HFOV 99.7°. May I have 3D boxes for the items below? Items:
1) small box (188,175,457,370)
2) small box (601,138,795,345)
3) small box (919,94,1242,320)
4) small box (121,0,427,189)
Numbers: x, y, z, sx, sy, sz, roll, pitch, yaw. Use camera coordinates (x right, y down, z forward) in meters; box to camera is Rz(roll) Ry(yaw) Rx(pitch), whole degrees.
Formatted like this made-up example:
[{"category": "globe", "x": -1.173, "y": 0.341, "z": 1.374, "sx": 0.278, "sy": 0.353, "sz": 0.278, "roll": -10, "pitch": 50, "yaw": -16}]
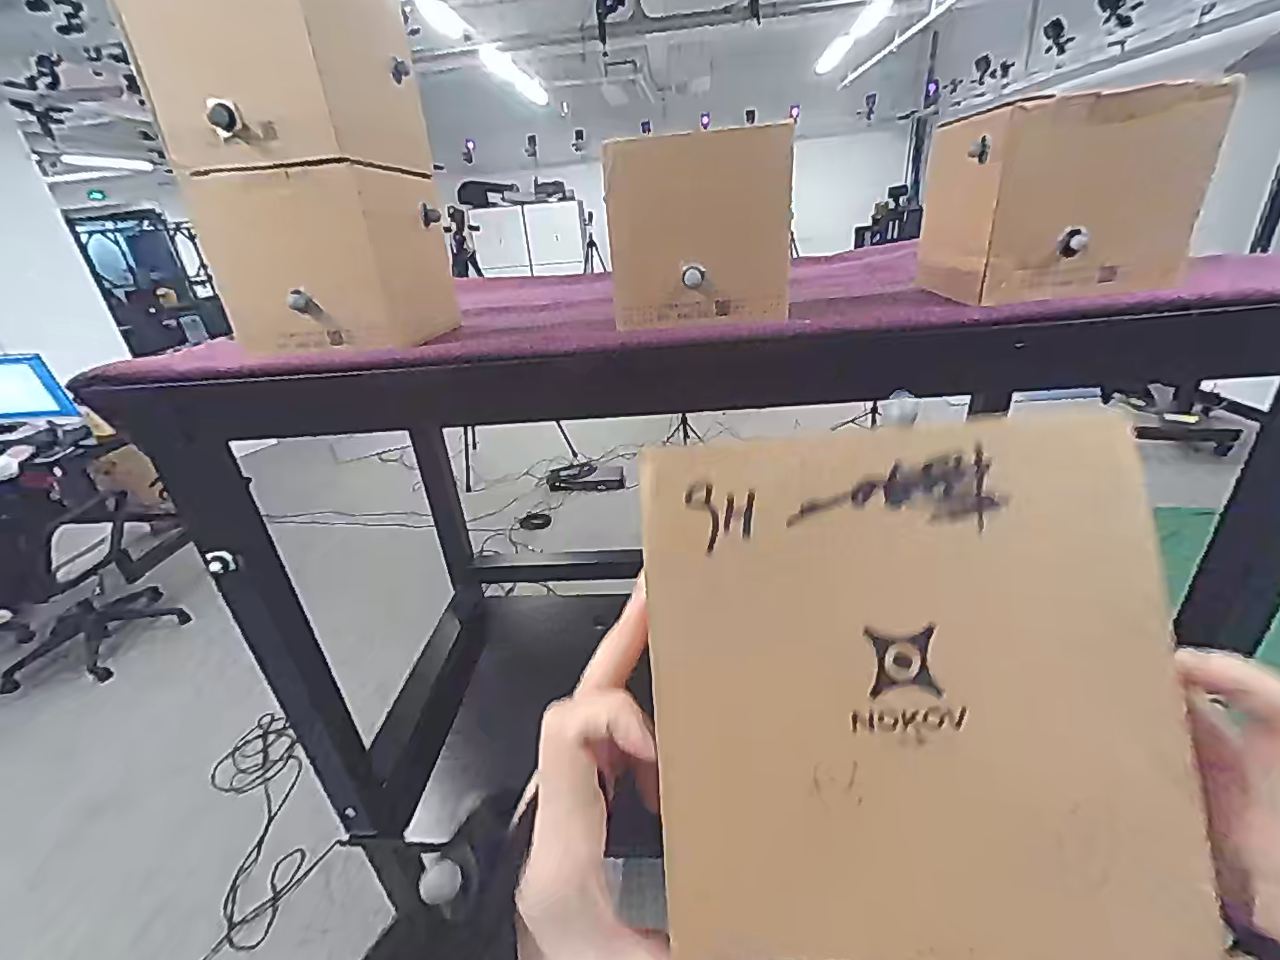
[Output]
[{"category": "small box", "x": -0.313, "y": -0.221, "z": 0.582, "sx": 0.168, "sy": 0.176, "sz": 0.179, "roll": -3, "pitch": 26, "yaw": 5}, {"category": "small box", "x": 0.060, "y": -0.243, "z": 0.562, "sx": 0.168, "sy": 0.176, "sz": 0.179, "roll": -2, "pitch": 28, "yaw": 6}, {"category": "small box", "x": 0.397, "y": -0.259, "z": 0.534, "sx": 0.168, "sy": 0.176, "sz": 0.179, "roll": -2, "pitch": 28, "yaw": 7}, {"category": "small box", "x": -0.323, "y": -0.366, "z": 0.511, "sx": 0.168, "sy": 0.176, "sz": 0.179, "roll": -2, "pitch": 26, "yaw": 8}]
